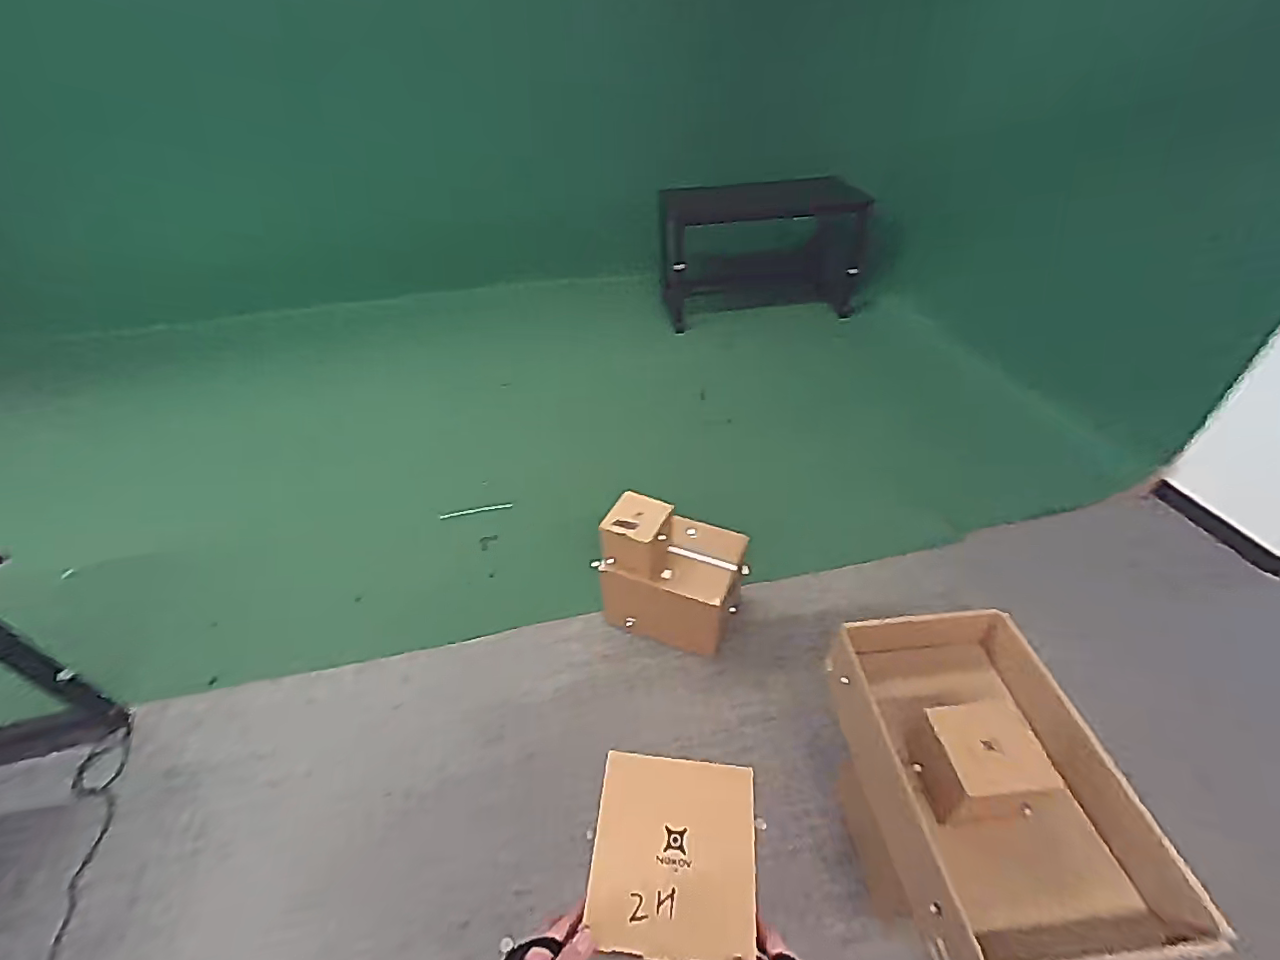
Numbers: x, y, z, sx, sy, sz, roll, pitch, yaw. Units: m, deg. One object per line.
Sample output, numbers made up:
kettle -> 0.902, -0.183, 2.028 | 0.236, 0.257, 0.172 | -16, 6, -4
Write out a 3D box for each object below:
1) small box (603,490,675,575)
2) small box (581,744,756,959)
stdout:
small box -> 0.001, 0.166, 1.689 | 0.168, 0.176, 0.179 | 18, 45, 20
small box -> 0.036, 0.425, 0.610 | 0.168, 0.176, 0.179 | 3, 47, 6
